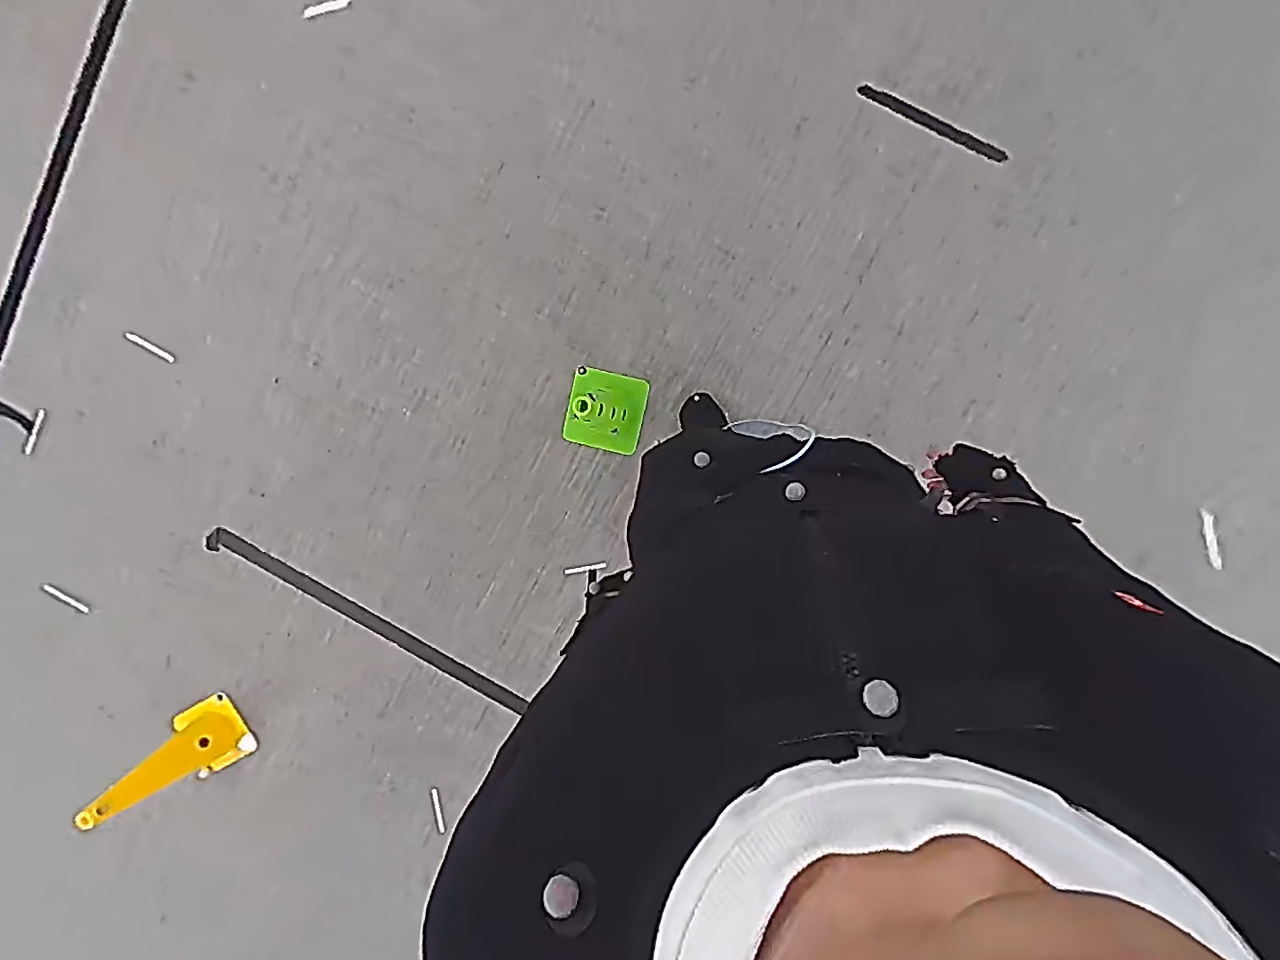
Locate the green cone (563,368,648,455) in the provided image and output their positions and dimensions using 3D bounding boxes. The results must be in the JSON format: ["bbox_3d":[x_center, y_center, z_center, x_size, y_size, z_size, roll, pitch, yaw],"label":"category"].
[{"bbox_3d":[-0.101,-0.160,1.246,0.202,0.368,0.200,13,97,2],"label":"green cone"}]
